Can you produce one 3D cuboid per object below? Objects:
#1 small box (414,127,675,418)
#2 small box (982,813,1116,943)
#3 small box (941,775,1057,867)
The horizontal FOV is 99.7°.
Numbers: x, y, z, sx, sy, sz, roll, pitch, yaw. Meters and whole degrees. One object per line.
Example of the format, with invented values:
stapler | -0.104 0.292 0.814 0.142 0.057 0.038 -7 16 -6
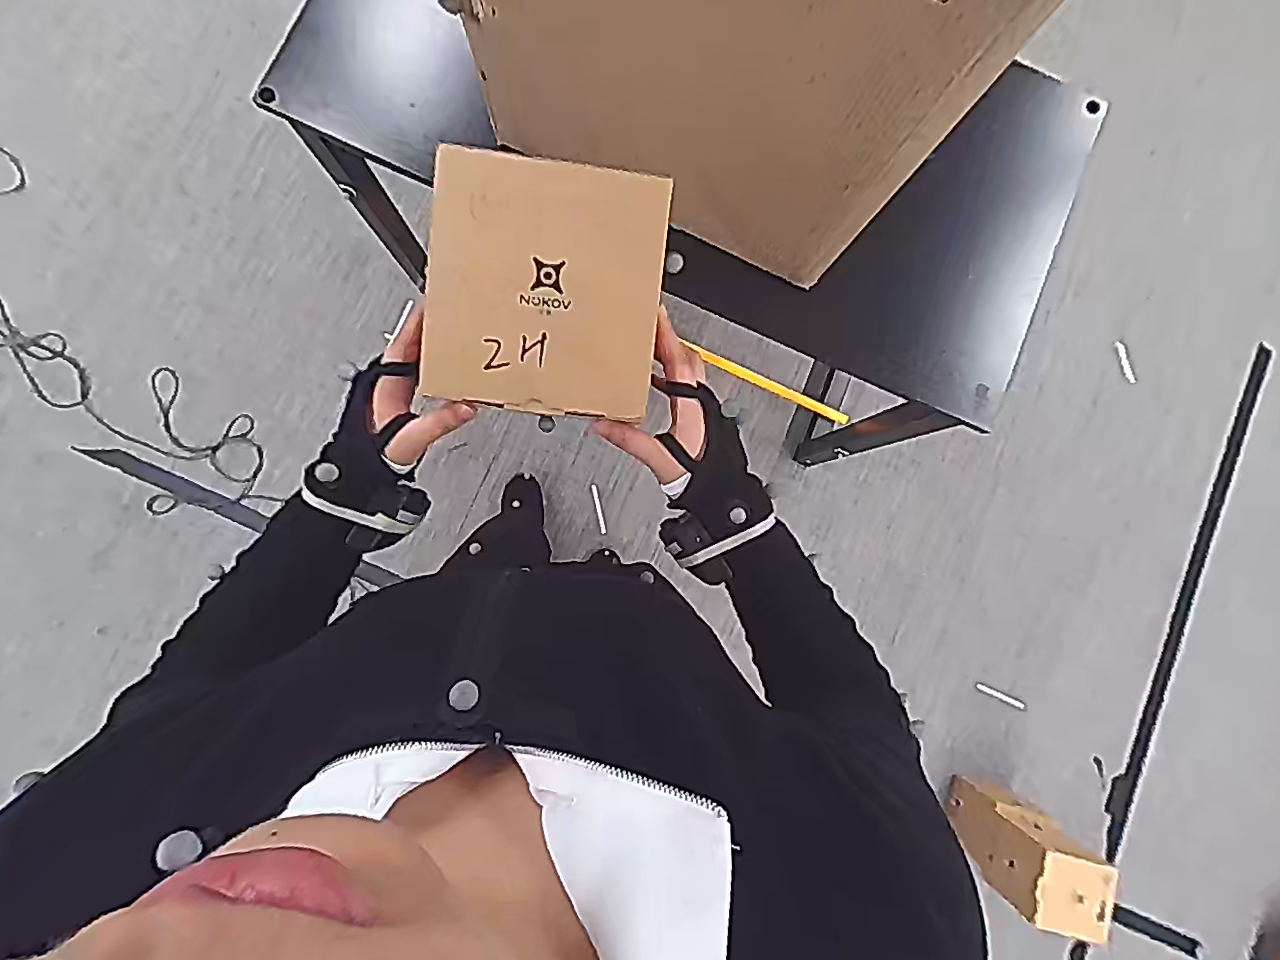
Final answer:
small box | -0.072 -0.150 0.455 0.168 0.176 0.179 6 95 -4
small box | 0.951 0.923 1.273 0.179 0.176 0.168 17 84 -2
small box | 0.947 0.920 1.438 0.179 0.176 0.168 18 84 -1
